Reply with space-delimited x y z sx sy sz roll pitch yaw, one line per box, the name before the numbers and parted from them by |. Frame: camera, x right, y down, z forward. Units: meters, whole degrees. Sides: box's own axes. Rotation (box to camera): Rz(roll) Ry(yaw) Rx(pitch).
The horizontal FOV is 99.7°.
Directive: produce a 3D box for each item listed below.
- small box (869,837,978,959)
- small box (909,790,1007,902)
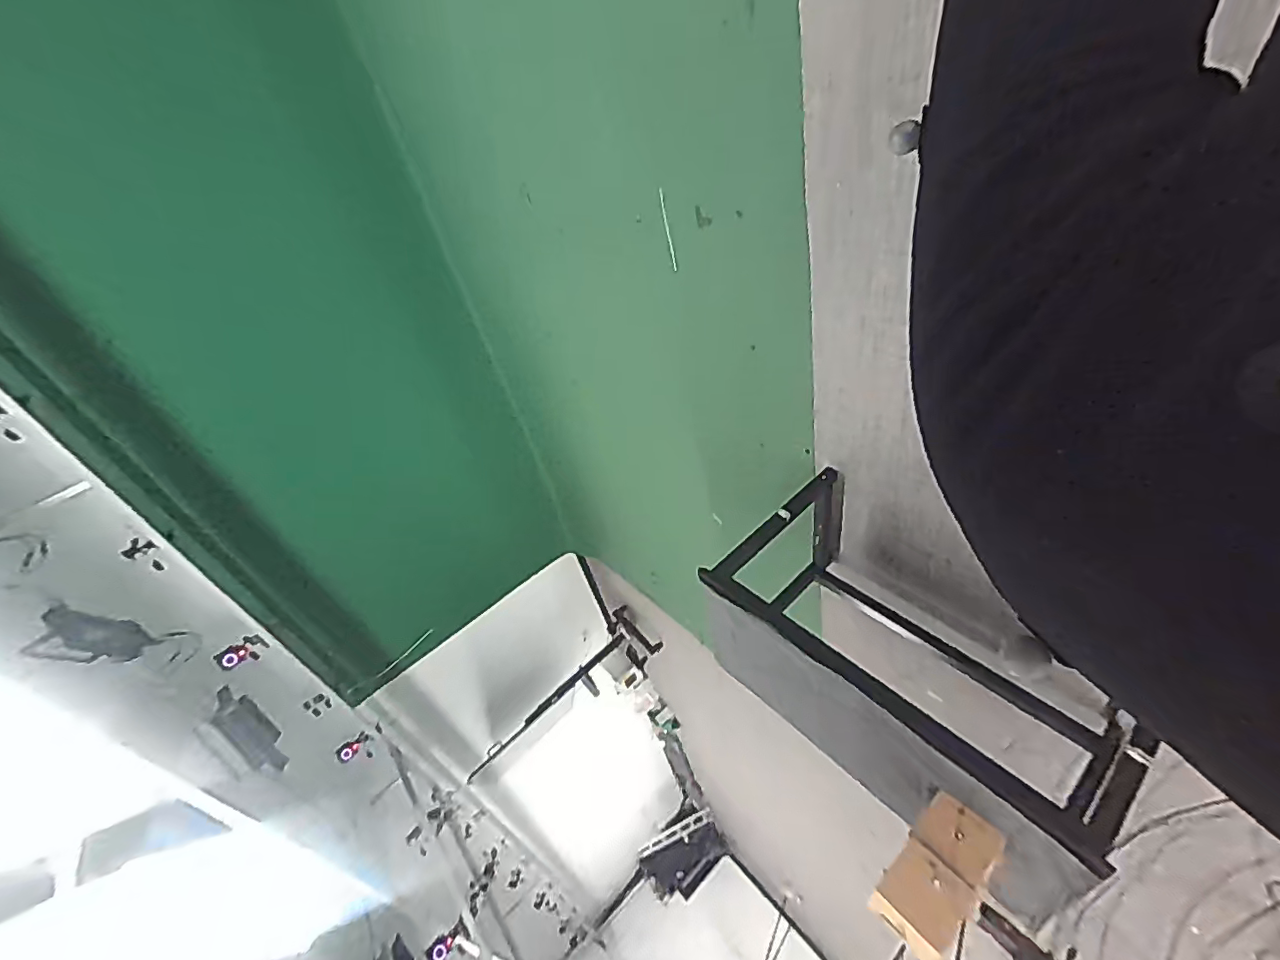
small box | 0.697 1.032 1.335 0.168 0.176 0.179 35 149 39
small box | 0.824 0.956 1.408 0.168 0.176 0.179 30 147 46
